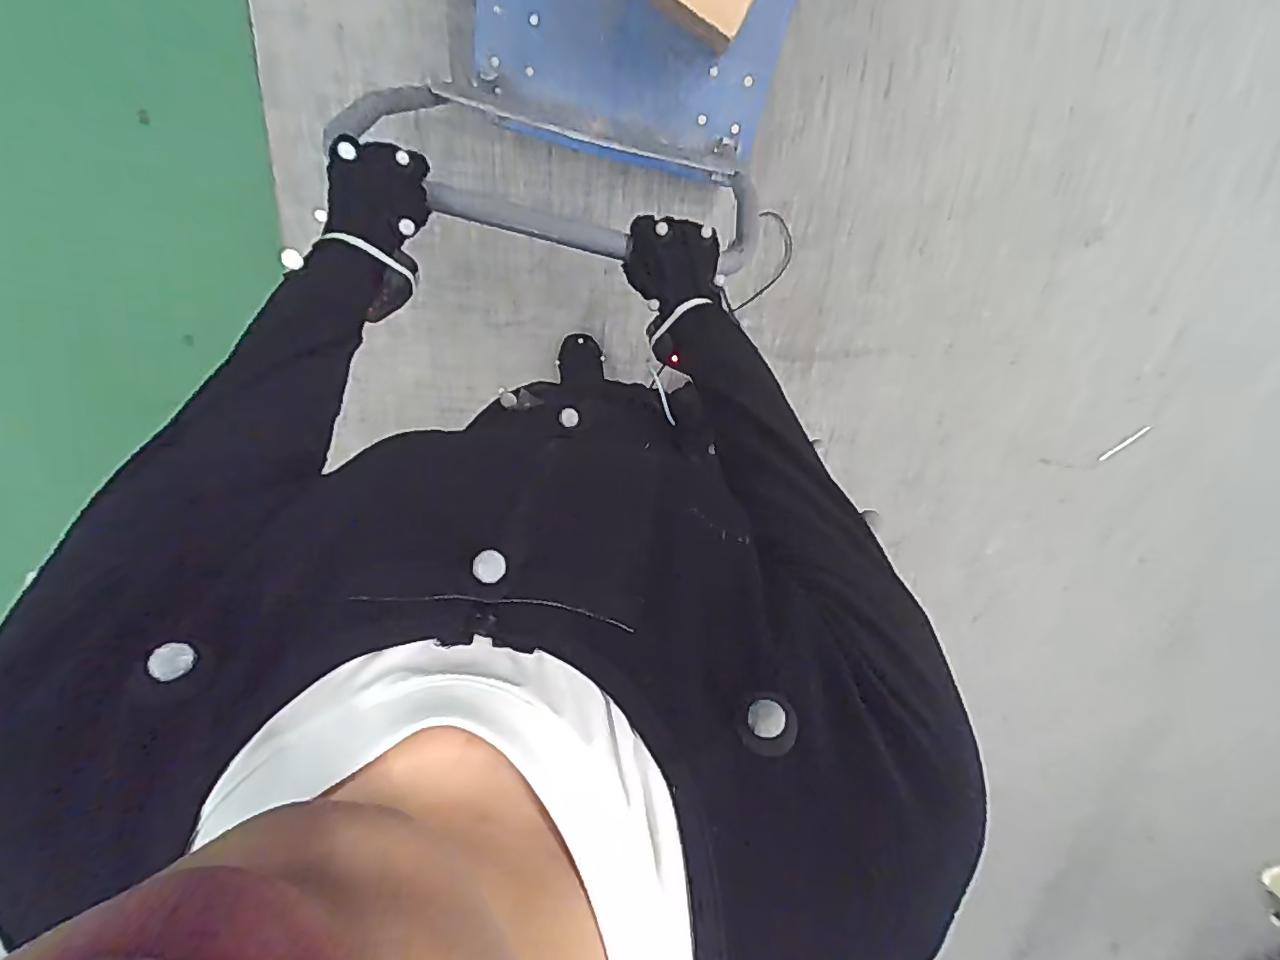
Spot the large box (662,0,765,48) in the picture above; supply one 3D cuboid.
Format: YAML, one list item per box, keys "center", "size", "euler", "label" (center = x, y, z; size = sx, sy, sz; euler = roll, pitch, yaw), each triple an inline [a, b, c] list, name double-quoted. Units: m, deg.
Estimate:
- center: [0.061, -0.911, 0.777]
  size: [0.408, 0.320, 0.320]
  euler: [27, 123, -12]
  label: "large box"
